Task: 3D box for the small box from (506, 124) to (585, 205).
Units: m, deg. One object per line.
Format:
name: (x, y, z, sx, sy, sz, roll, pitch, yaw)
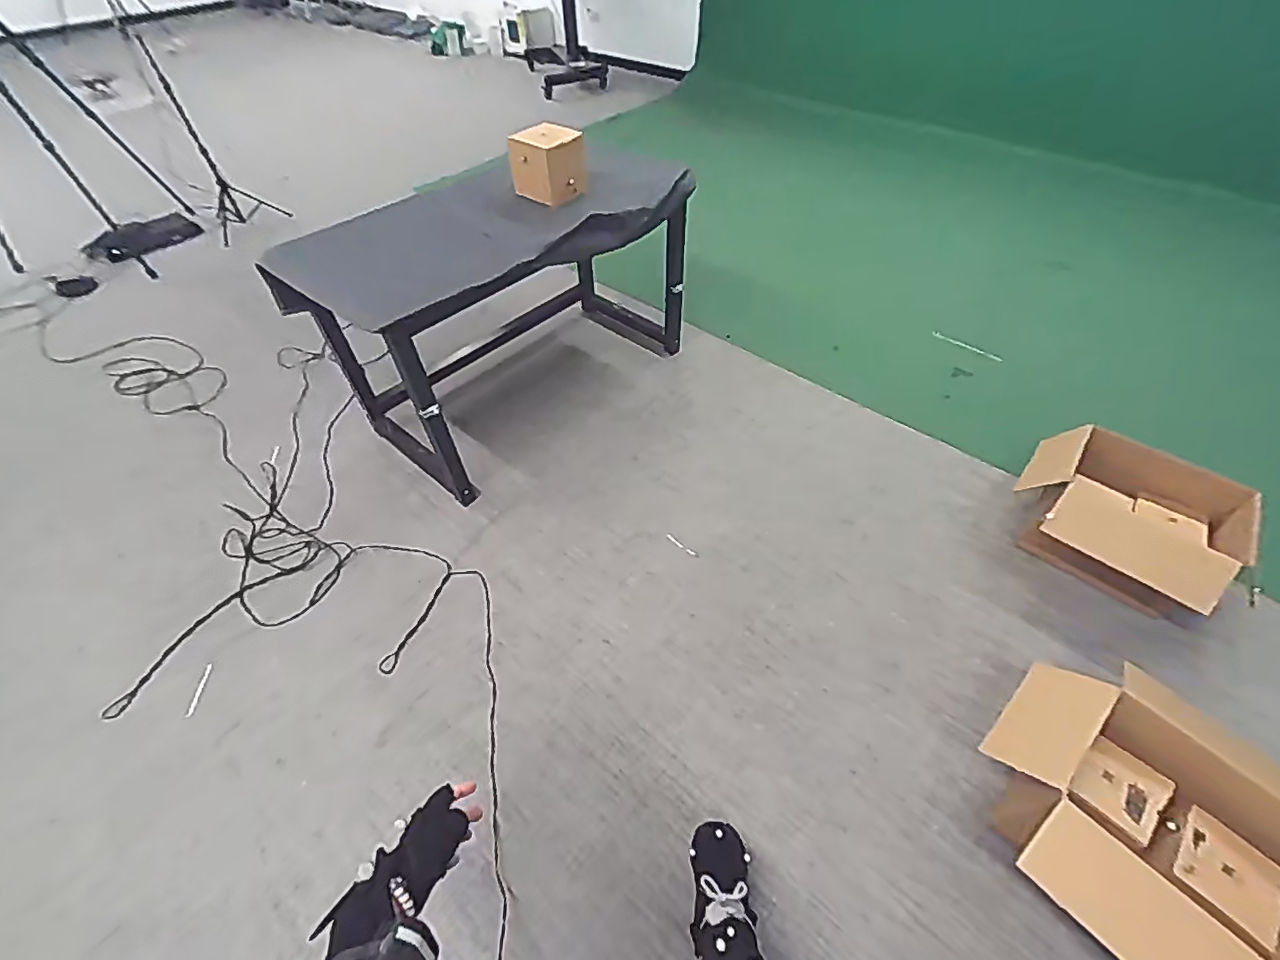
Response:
small box: (-0.294, -0.997, 1.711, 0.179, 0.176, 0.168, 31, 57, 24)
